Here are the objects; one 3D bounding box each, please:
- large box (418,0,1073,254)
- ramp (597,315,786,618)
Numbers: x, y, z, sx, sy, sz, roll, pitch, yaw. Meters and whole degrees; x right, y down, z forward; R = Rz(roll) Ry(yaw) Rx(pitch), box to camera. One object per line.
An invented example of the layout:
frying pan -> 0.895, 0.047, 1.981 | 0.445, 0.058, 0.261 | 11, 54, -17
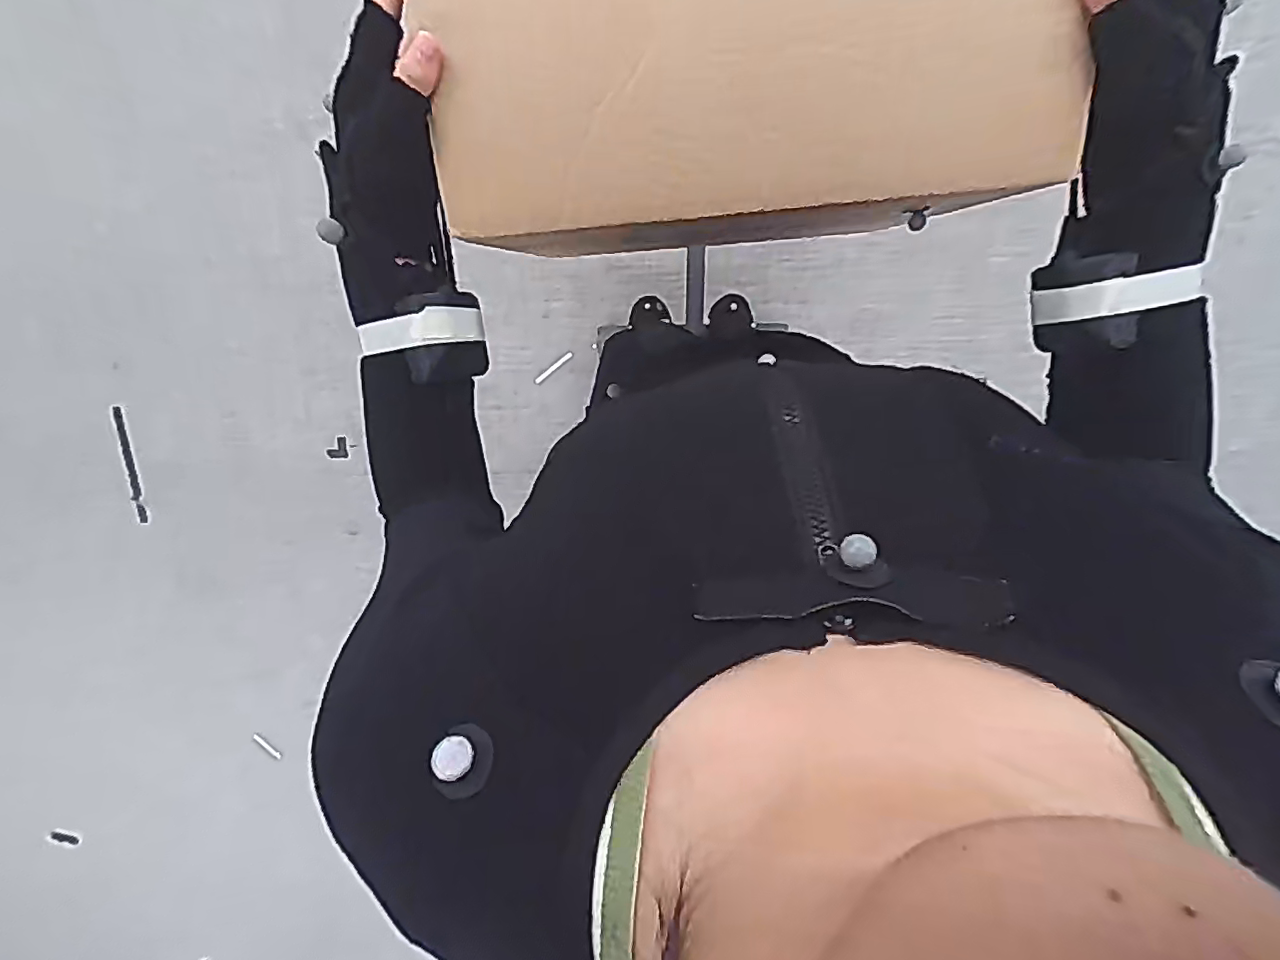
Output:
large box -> 0.065, -0.378, 0.456 | 0.408, 0.320, 0.320 | -4, 109, 4
ramp -> 0.146, 0.022, 1.611 | 0.509, 0.206, 0.991 | -2, 107, 3
